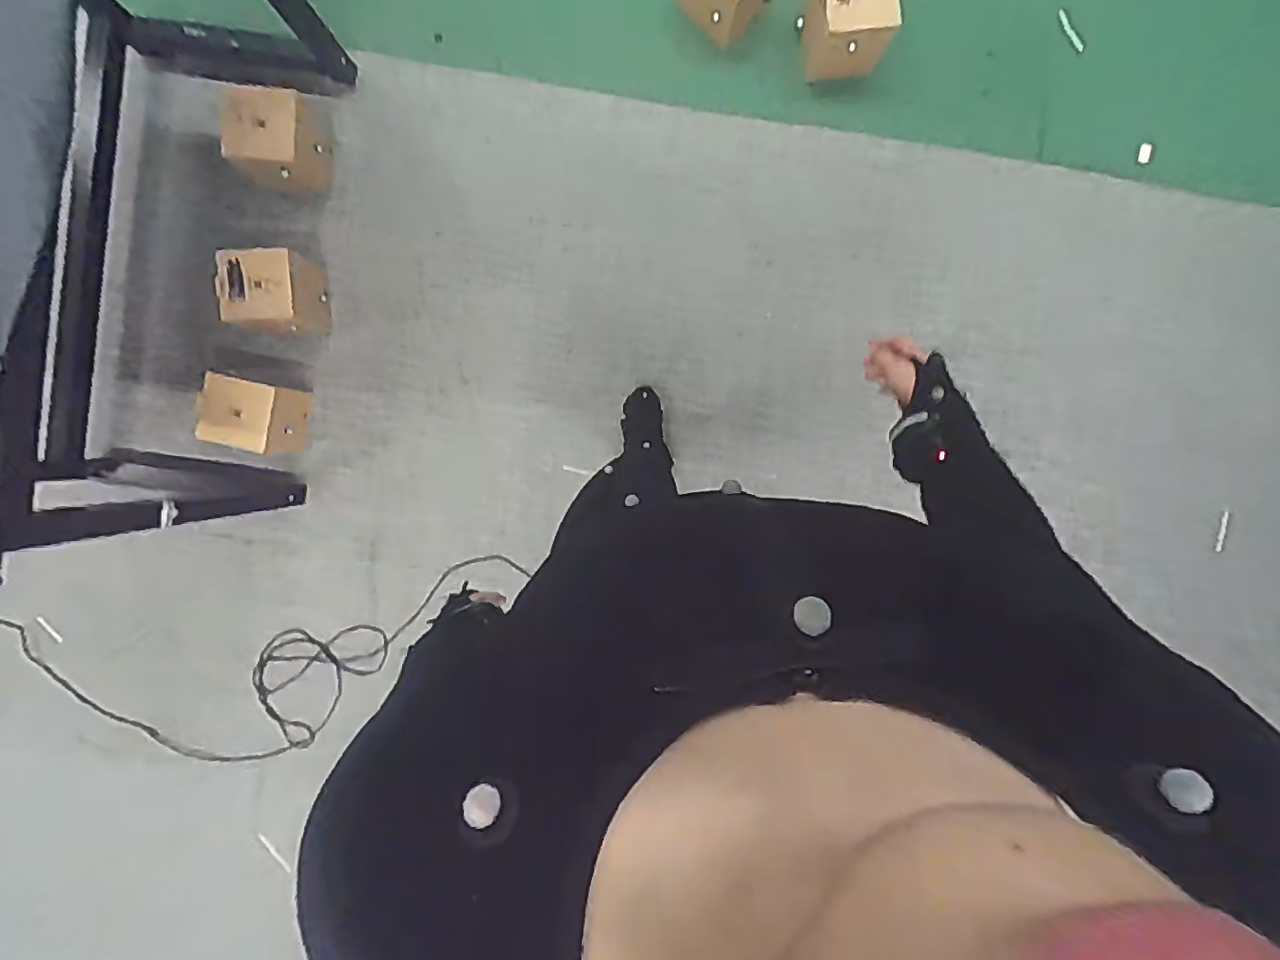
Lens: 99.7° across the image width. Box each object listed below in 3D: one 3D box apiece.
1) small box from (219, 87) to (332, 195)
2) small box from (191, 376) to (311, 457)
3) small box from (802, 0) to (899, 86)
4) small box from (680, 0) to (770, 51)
[{"bbox_3d":[-0.895,-0.832,1.342,0.179,0.176,0.168,4,92,0],"label":"small box"},{"bbox_3d":[-0.981,-0.159,1.379,0.179,0.176,0.168,13,93,0],"label":"small box"},{"bbox_3d":[0.509,-1.114,1.334,0.179,0.176,0.168,-7,93,-1],"label":"small box"},{"bbox_3d":[0.218,-1.215,1.329,0.179,0.176,0.168,44,91,-1],"label":"small box"}]
